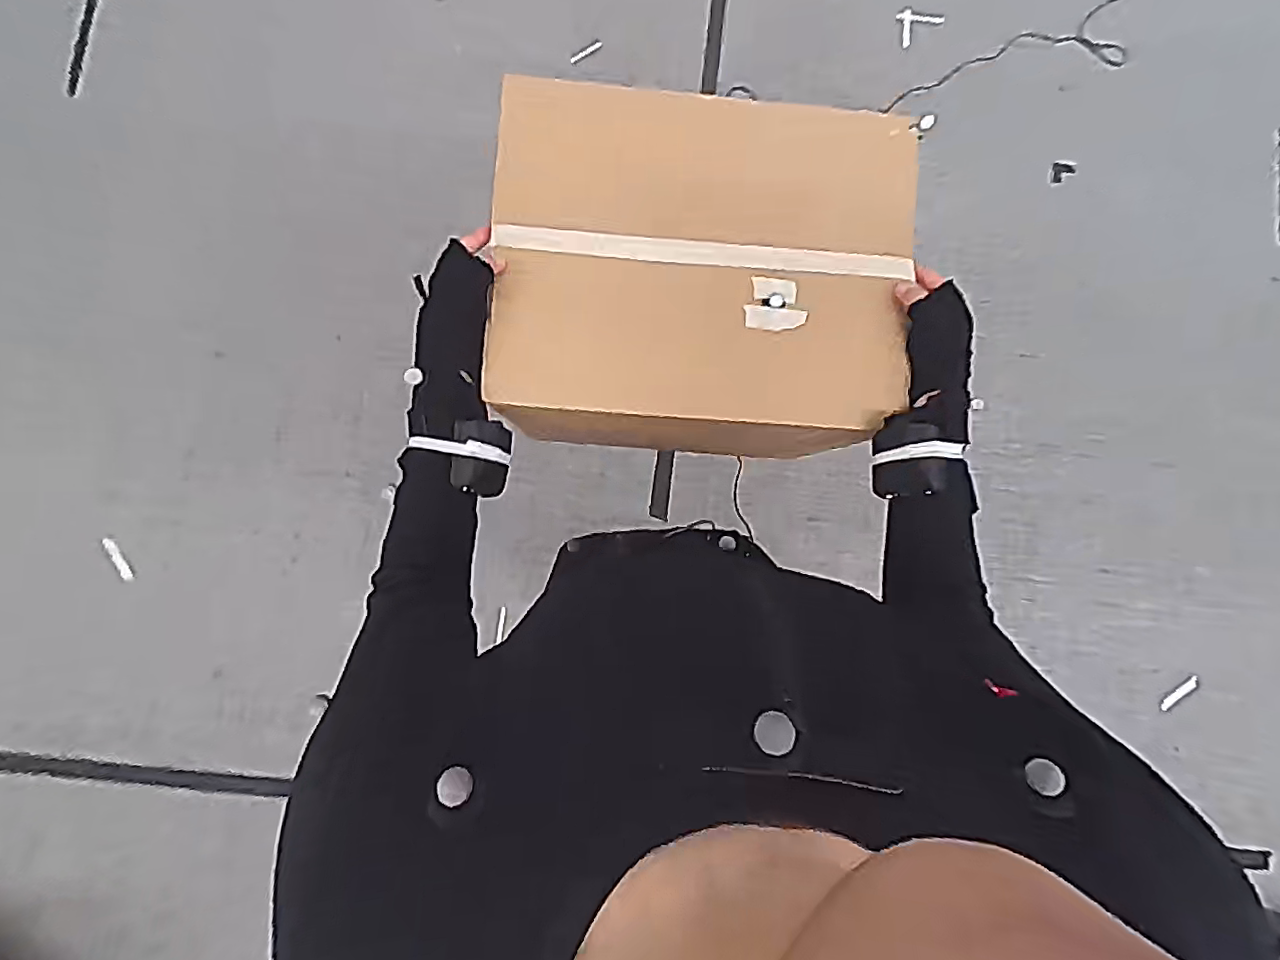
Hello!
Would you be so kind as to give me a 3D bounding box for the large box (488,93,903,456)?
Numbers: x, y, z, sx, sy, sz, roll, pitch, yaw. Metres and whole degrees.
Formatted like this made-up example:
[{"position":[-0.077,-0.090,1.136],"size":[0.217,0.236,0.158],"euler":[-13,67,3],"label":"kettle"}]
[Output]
[{"position":[0.049,-0.205,0.676],"size":[0.408,0.320,0.320],"euler":[4,89,-4],"label":"large box"}]
